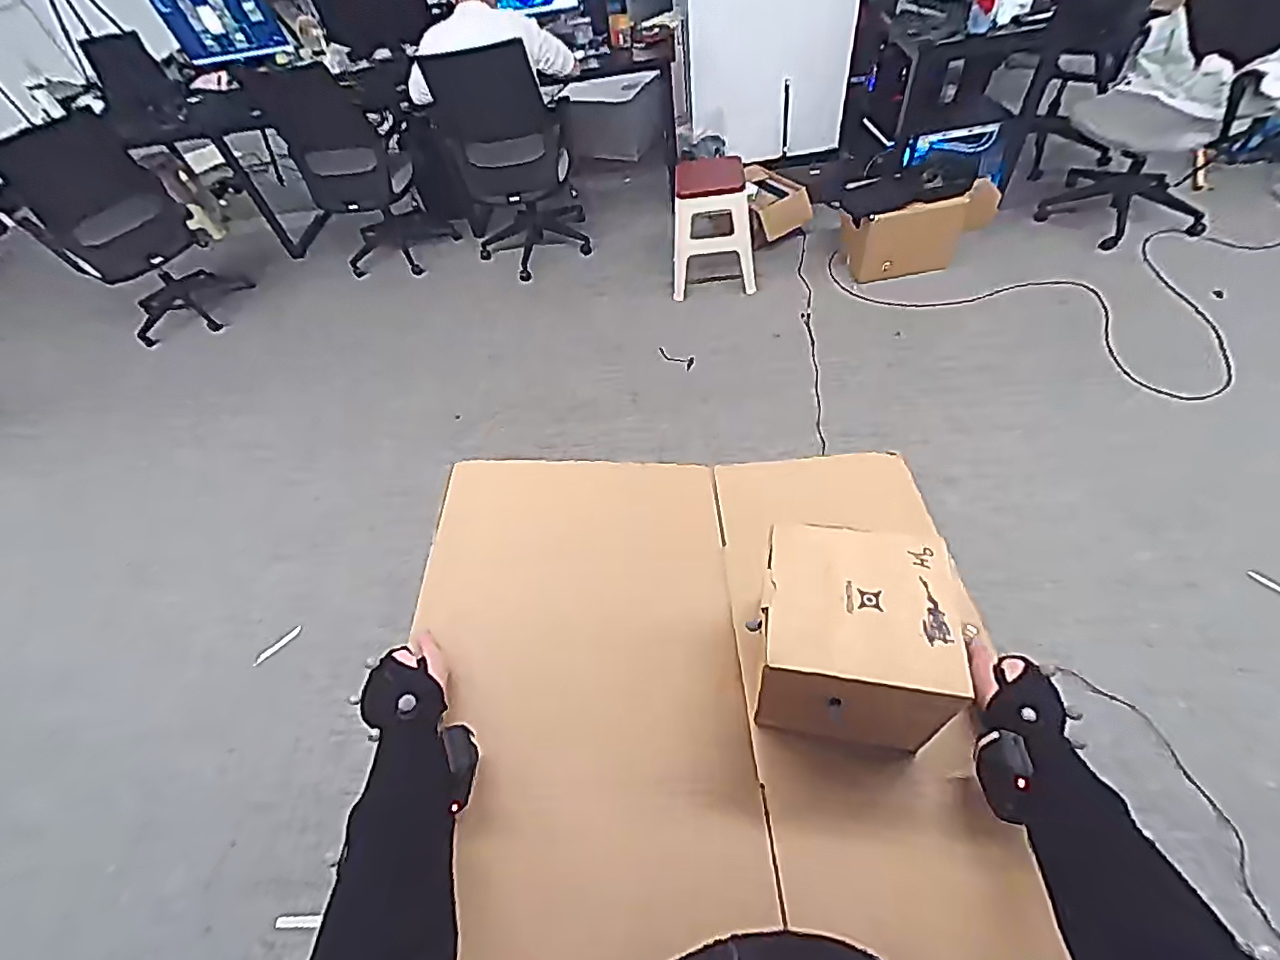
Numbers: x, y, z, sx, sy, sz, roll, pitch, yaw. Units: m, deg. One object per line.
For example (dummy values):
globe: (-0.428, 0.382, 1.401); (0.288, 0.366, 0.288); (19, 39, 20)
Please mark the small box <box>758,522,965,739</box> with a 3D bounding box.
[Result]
small box: (0.223, 0.165, 0.591); (0.179, 0.176, 0.168); (4, 51, 13)
